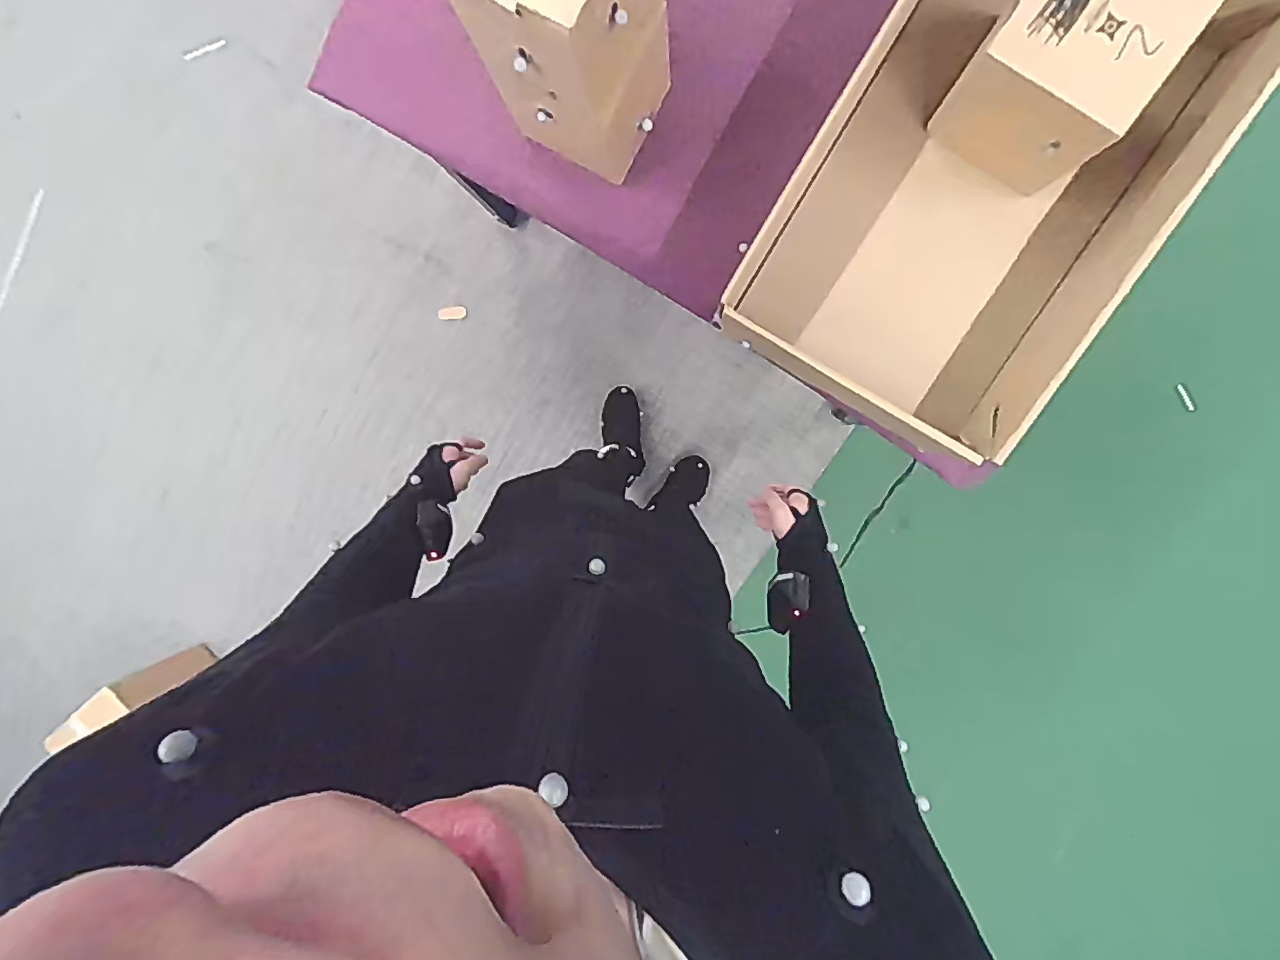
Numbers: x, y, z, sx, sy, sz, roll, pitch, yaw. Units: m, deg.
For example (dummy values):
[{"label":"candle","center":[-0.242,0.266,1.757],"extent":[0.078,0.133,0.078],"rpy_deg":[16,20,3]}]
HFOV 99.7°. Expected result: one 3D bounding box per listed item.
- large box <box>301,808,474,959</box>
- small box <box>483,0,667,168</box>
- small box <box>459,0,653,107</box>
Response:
[{"label":"large box","center":[-0.788,1.307,1.737],"extent":[0.408,0.320,0.320],"rpy_deg":[0,98,4]},{"label":"small box","center":[-0.077,-0.568,0.737],"extent":[0.179,0.176,0.168],"rpy_deg":[28,99,1]},{"label":"small box","center":[-0.089,-0.551,0.575],"extent":[0.168,0.176,0.179],"rpy_deg":[29,99,0]}]
